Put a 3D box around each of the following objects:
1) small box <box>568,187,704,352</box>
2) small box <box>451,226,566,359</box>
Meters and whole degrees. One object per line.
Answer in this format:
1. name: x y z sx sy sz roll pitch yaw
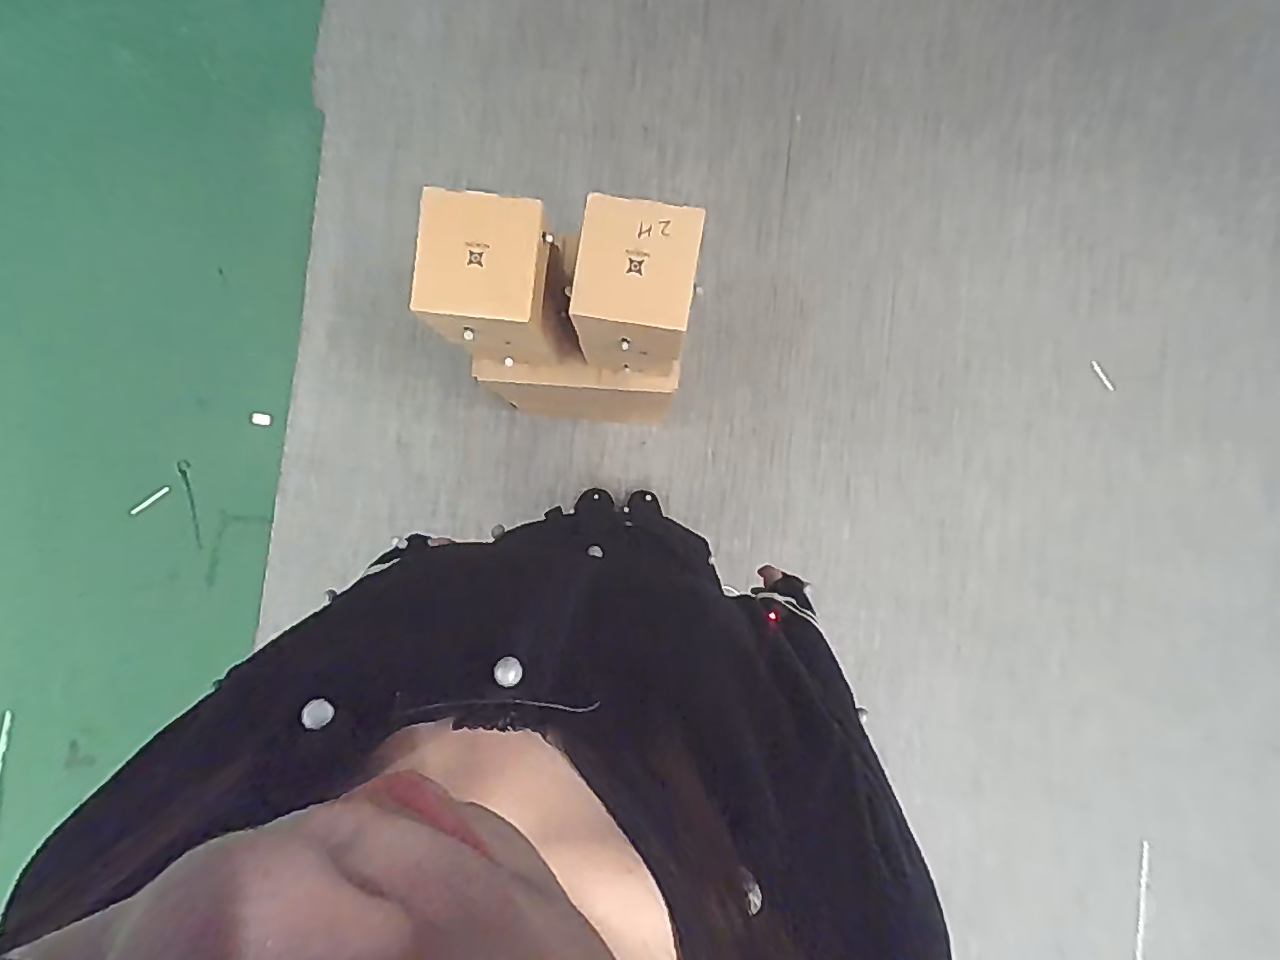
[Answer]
1. small box: -0.004 -0.308 0.829 0.168 0.176 0.179 11 90 0
2. small box: -0.231 -0.334 0.994 0.168 0.176 0.179 7 91 -2
